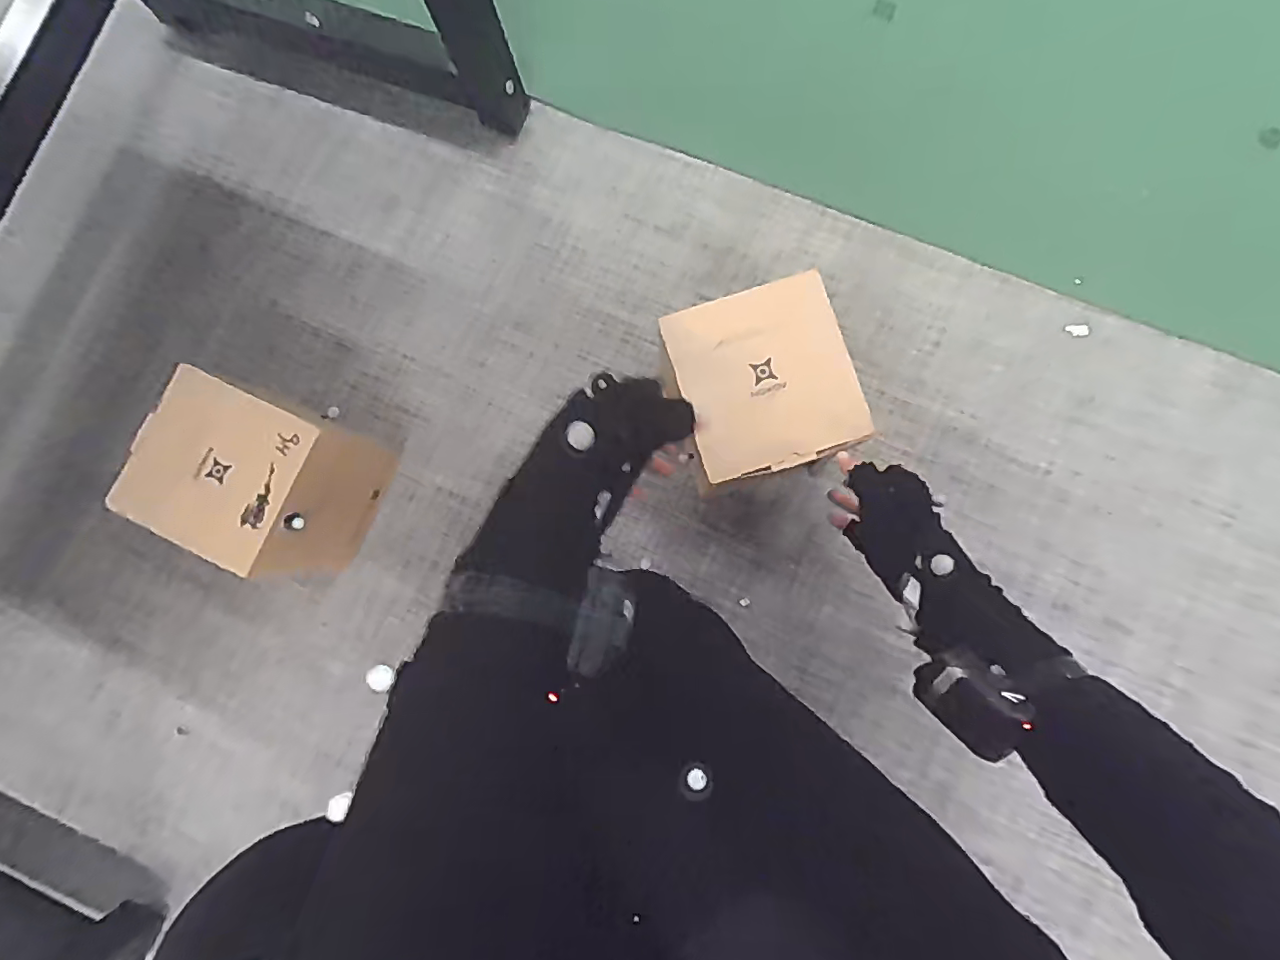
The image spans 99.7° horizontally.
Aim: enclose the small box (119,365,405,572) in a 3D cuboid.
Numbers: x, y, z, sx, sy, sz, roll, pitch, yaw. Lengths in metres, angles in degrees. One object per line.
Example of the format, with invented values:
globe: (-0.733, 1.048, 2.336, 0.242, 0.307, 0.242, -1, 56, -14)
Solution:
small box: (-0.419, -0.005, 0.629, 0.179, 0.176, 0.168, 24, 87, 8)
